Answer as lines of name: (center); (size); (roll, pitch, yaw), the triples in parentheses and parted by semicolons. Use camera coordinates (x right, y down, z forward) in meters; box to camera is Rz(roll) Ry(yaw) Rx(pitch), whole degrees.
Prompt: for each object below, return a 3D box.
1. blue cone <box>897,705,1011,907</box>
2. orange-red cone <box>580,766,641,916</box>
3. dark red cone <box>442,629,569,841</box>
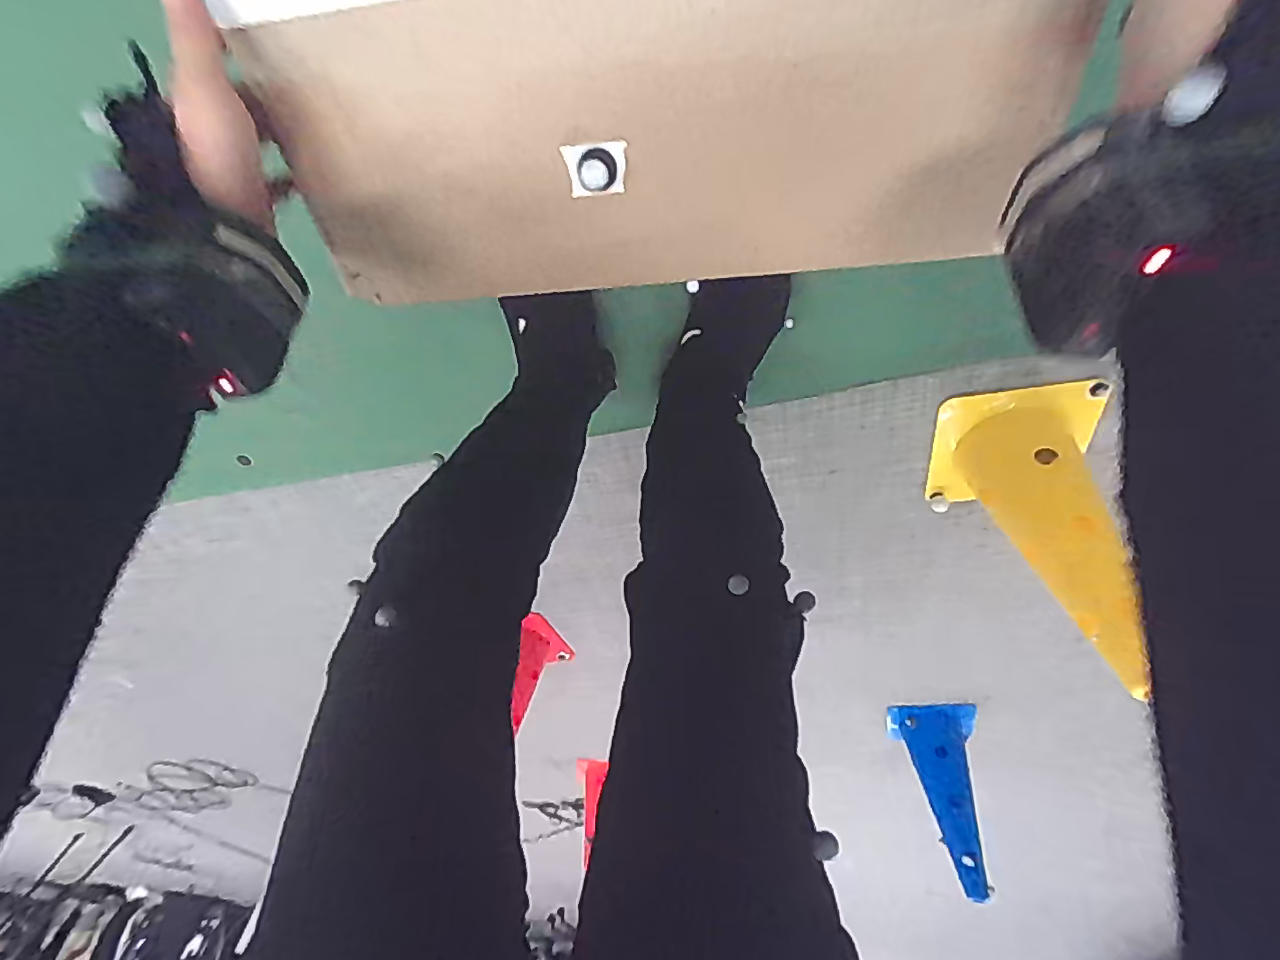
blue cone: (0.713, 0.706, 1.195); (0.192, 0.380, 0.193); (-9, 131, 15)
orange-red cone: (-0.120, 1.103, 1.649); (0.199, 0.360, 0.198); (7, 132, 3)
dark red cone: (-0.301, 0.504, 1.095); (0.202, 0.394, 0.201); (-15, 126, 20)
